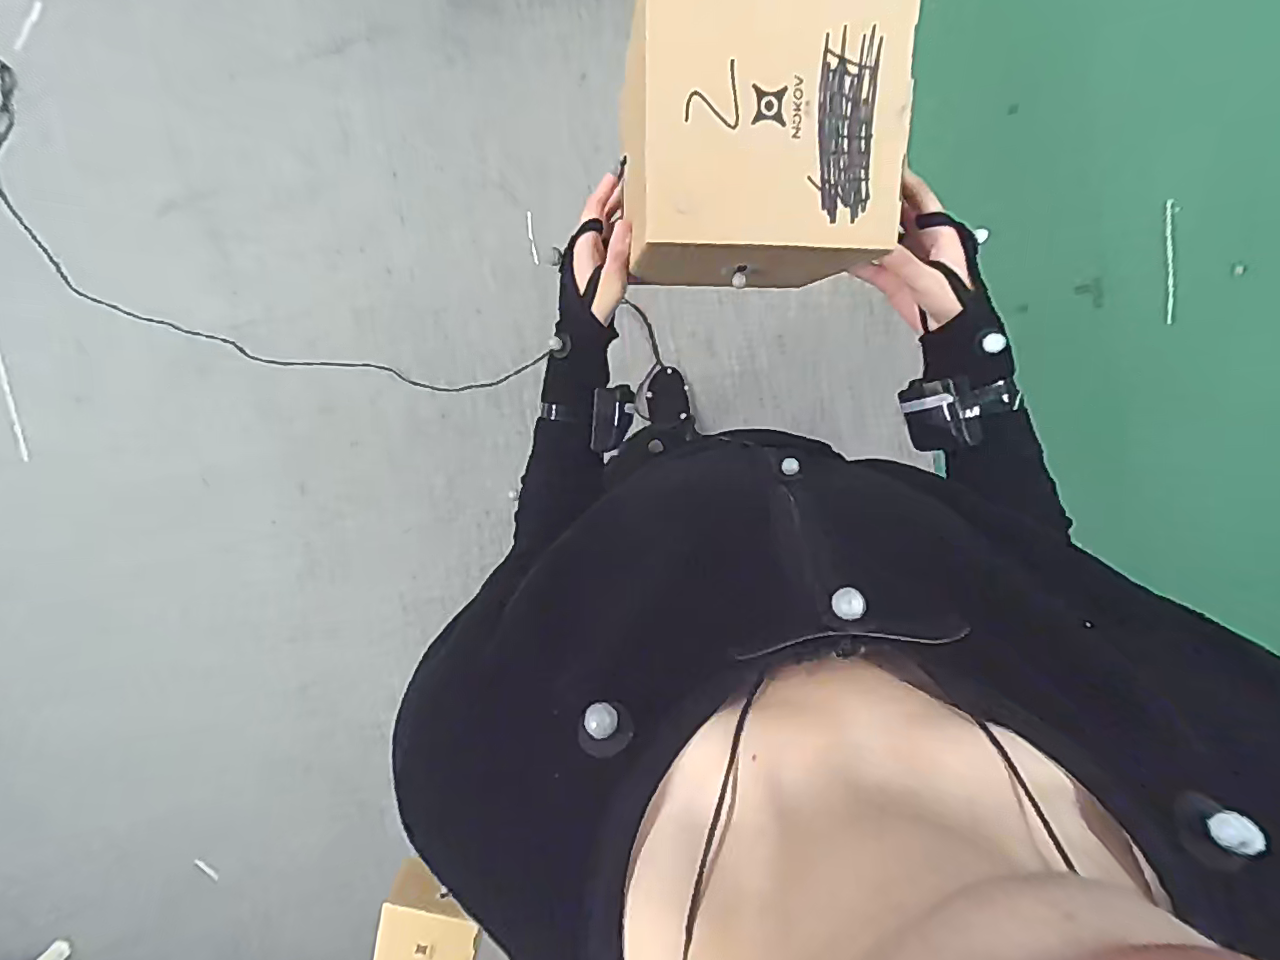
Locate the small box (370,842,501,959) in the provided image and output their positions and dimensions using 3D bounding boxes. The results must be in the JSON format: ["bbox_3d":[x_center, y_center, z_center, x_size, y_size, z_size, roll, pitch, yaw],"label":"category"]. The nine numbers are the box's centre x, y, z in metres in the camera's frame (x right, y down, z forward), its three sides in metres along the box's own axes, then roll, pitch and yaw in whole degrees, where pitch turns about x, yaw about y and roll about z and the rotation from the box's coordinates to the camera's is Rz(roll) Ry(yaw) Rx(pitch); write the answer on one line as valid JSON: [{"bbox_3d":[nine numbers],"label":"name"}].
[{"bbox_3d":[-0.384,0.833,1.027,0.179,0.176,0.168,13,97,-1],"label":"small box"}]
